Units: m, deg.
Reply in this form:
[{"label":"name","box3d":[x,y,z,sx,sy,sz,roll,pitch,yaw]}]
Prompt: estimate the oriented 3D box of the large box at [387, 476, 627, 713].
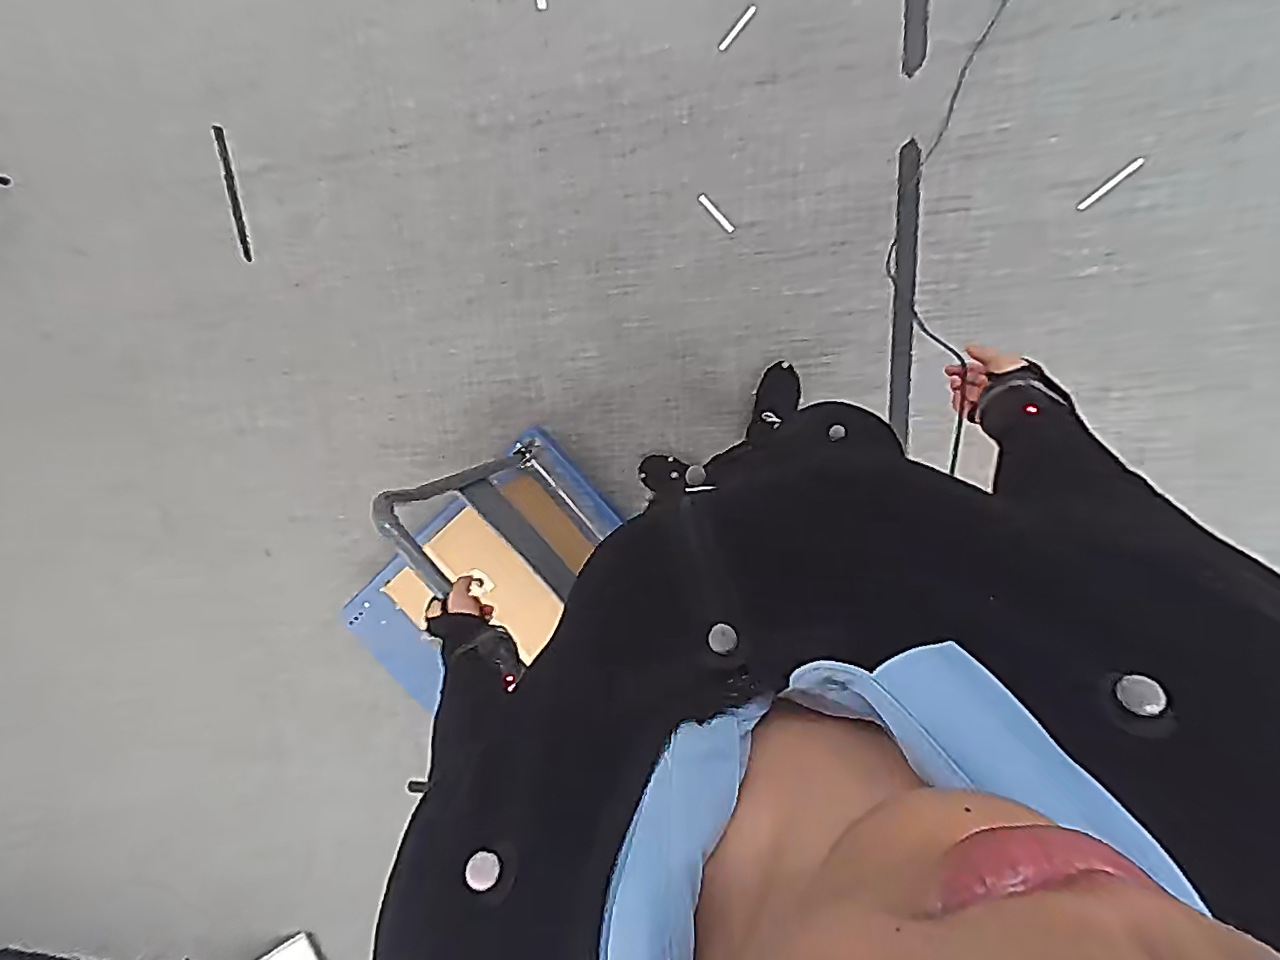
[{"label":"large box","box3d":[-0.296,0.257,1.312,0.320,0.320,0.408,-41,92,16]}]
